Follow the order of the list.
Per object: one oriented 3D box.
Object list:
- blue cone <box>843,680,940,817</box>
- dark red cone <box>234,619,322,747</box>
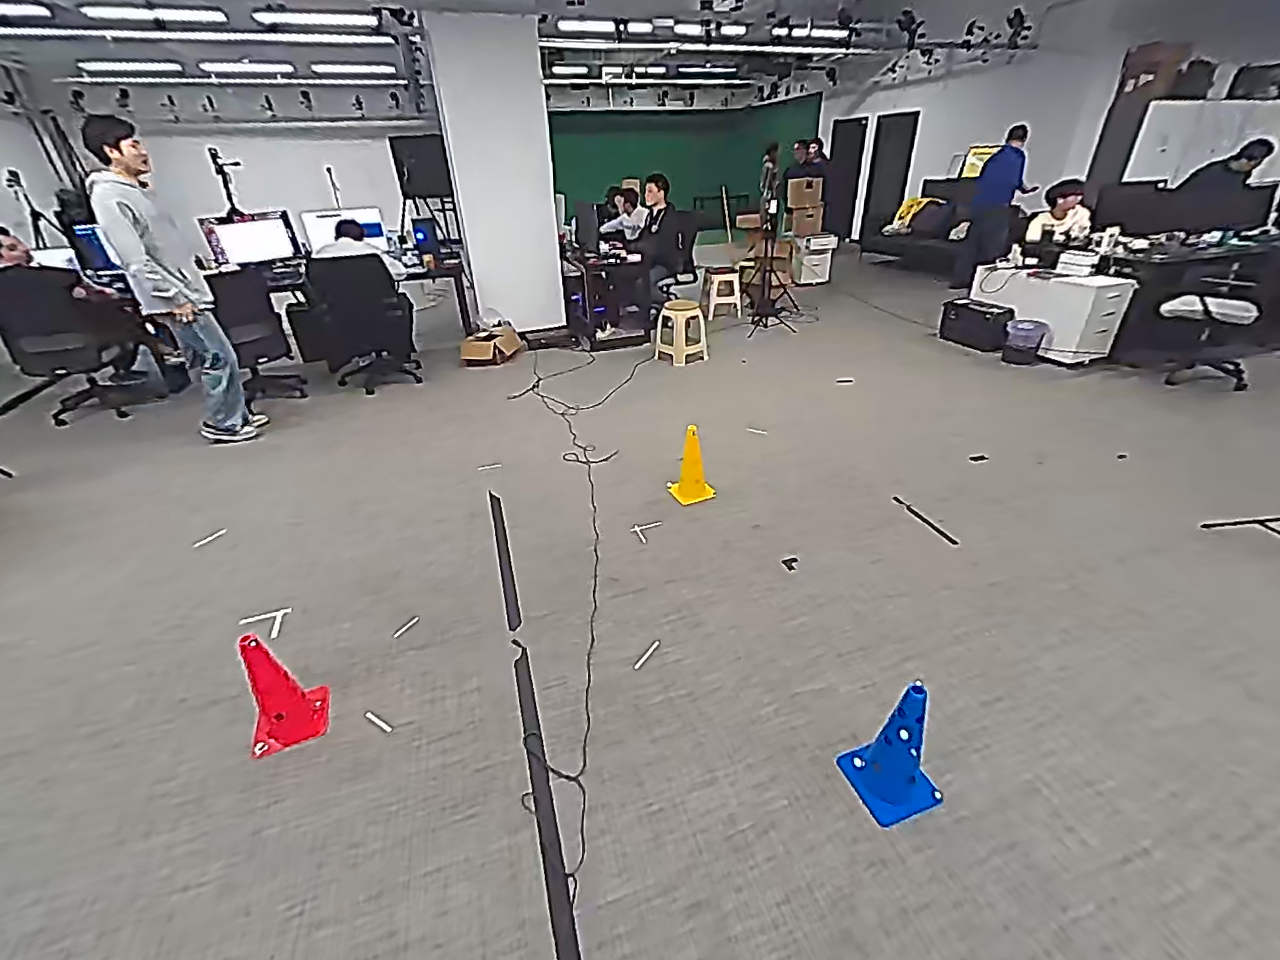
[{"bbox_3d":[0.658,0.645,1.355,0.192,0.380,0.193,-10,31,-15],"label":"blue cone"},{"bbox_3d":[-1.087,0.563,1.570,0.201,0.394,0.202,-14,32,-22],"label":"dark red cone"}]
